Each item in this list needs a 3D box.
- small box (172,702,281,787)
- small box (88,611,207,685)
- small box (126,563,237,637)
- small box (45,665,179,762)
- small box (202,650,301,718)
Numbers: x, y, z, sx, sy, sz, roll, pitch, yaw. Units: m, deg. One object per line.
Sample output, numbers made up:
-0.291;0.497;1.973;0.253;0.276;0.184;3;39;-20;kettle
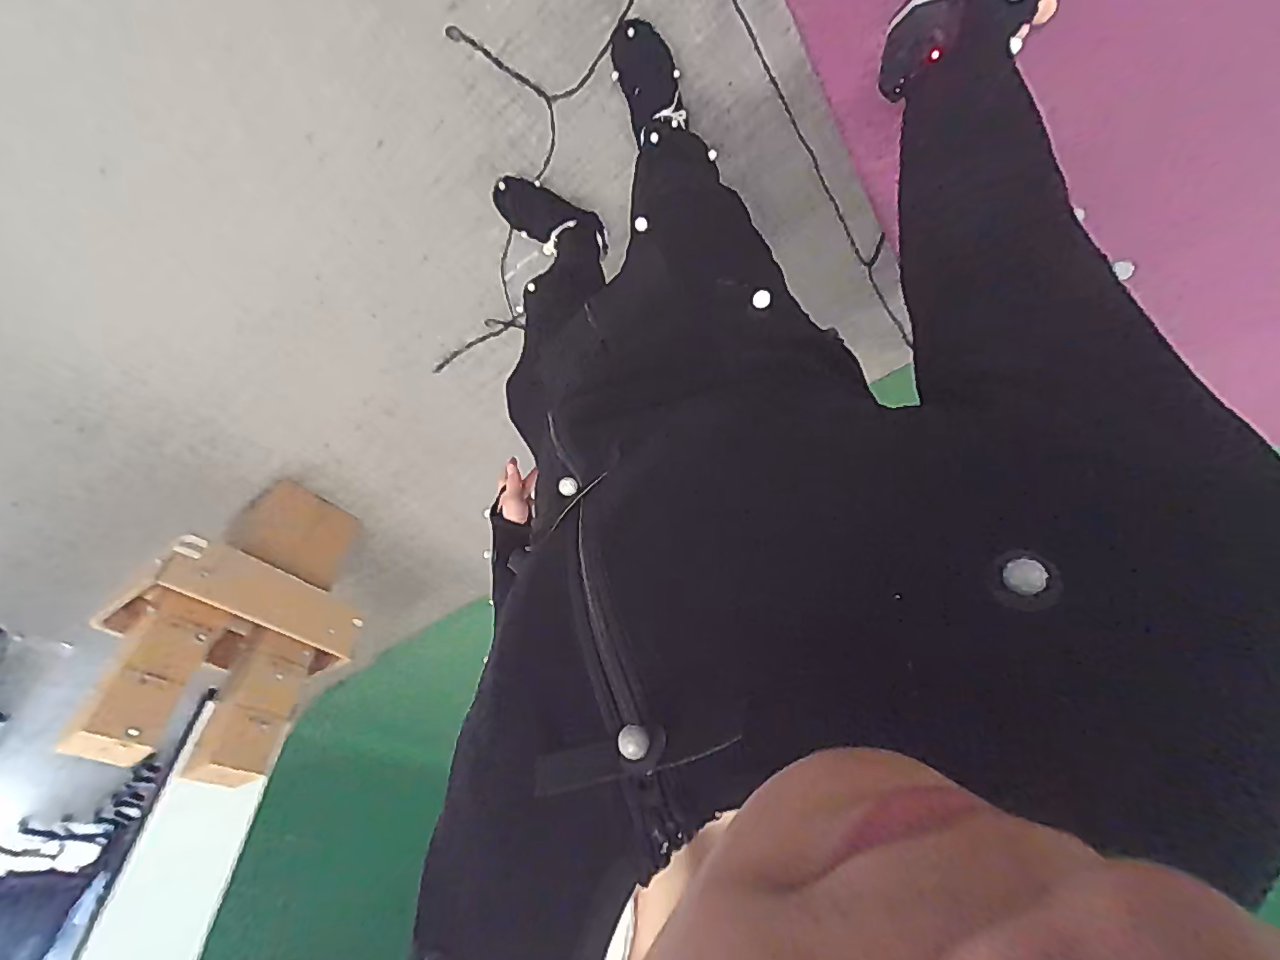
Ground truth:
-1.206;0.778;1.592;0.179;0.176;0.168;-27;132;22;small box
-1.376;0.493;1.526;0.179;0.176;0.168;-29;130;23;small box
-1.386;0.384;1.648;0.179;0.176;0.168;-26;131;19;small box
-1.362;0.608;1.409;0.179;0.176;0.168;-29;131;23;small box
-1.216;0.663;1.707;0.179;0.176;0.168;-28;131;23;small box
